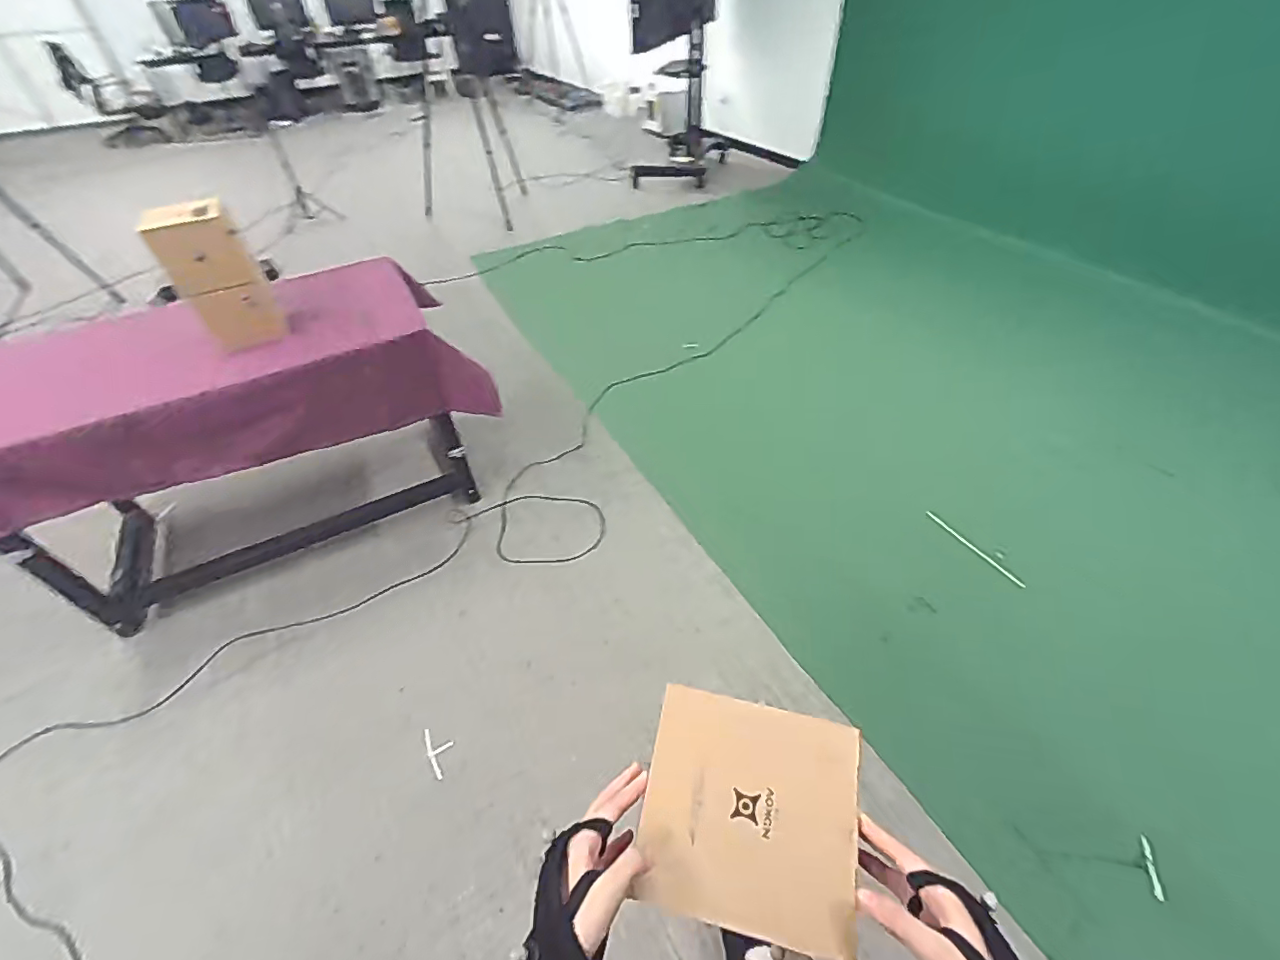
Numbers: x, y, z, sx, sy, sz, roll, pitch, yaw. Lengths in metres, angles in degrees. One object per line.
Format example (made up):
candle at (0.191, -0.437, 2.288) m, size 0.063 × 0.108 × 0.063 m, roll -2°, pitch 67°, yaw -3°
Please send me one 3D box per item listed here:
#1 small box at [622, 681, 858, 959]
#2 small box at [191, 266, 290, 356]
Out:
small box at (0.092, 0.312, 0.512) m, size 0.179 × 0.176 × 0.168 m, roll 9°, pitch 56°, yaw 10°
small box at (-1.114, -0.476, 1.526) m, size 0.179 × 0.176 × 0.168 m, roll -21°, pitch 47°, yaw -18°
